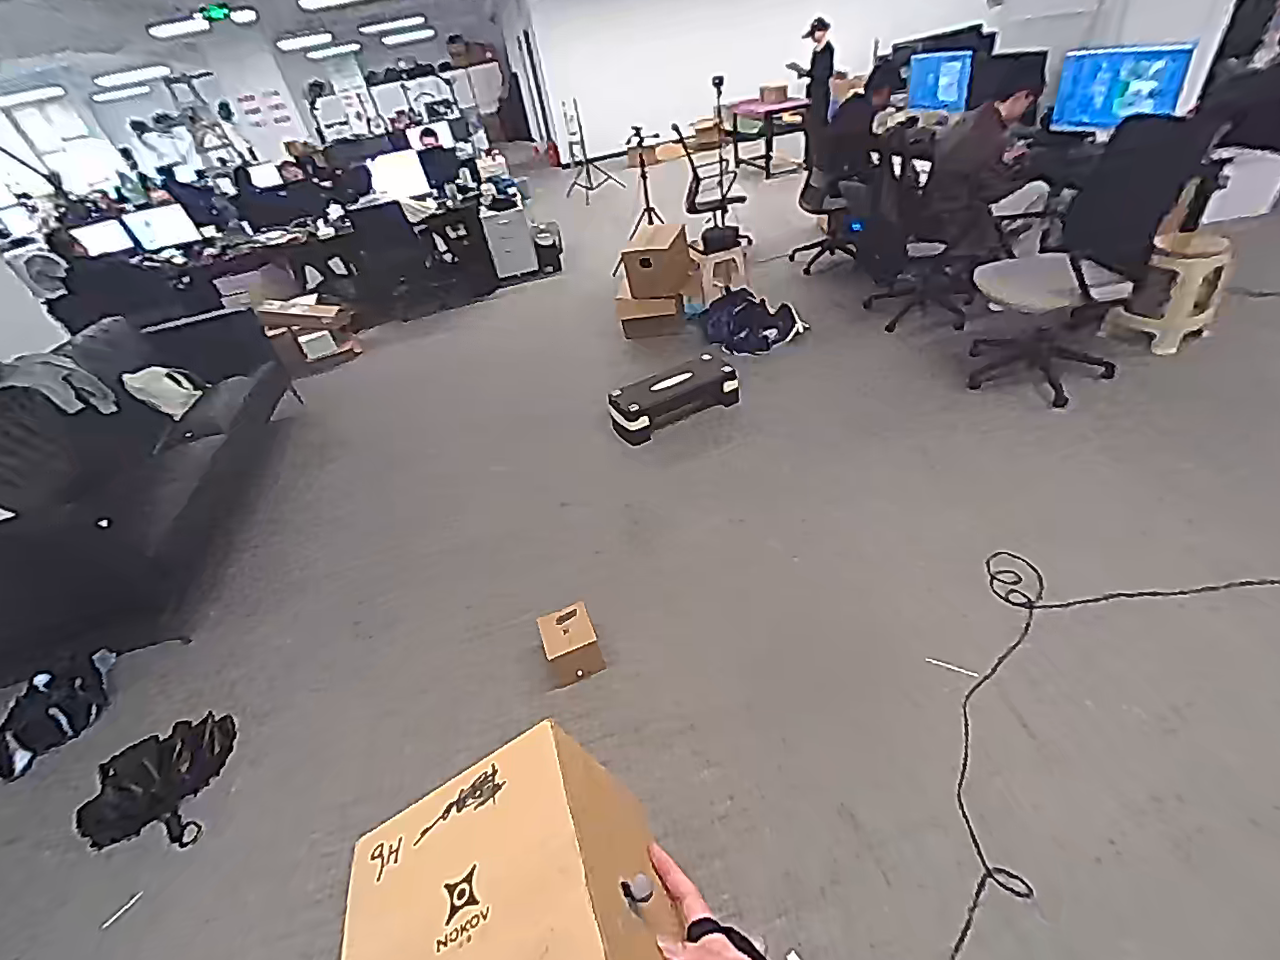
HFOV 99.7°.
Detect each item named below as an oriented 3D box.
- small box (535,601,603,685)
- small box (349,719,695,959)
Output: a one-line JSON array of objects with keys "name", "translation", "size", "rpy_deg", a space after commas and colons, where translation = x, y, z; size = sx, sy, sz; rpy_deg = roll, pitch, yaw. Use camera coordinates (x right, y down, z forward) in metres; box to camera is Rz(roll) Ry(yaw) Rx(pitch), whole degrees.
[{"name": "small box", "translation": [-0.236, 0.545, 1.806], "size": [0.168, 0.176, 0.179], "rpy_deg": [-20, 40, -11]}, {"name": "small box", "translation": [-0.073, 0.314, 0.375], "size": [0.168, 0.176, 0.179], "rpy_deg": [-30, 36, -3]}]
